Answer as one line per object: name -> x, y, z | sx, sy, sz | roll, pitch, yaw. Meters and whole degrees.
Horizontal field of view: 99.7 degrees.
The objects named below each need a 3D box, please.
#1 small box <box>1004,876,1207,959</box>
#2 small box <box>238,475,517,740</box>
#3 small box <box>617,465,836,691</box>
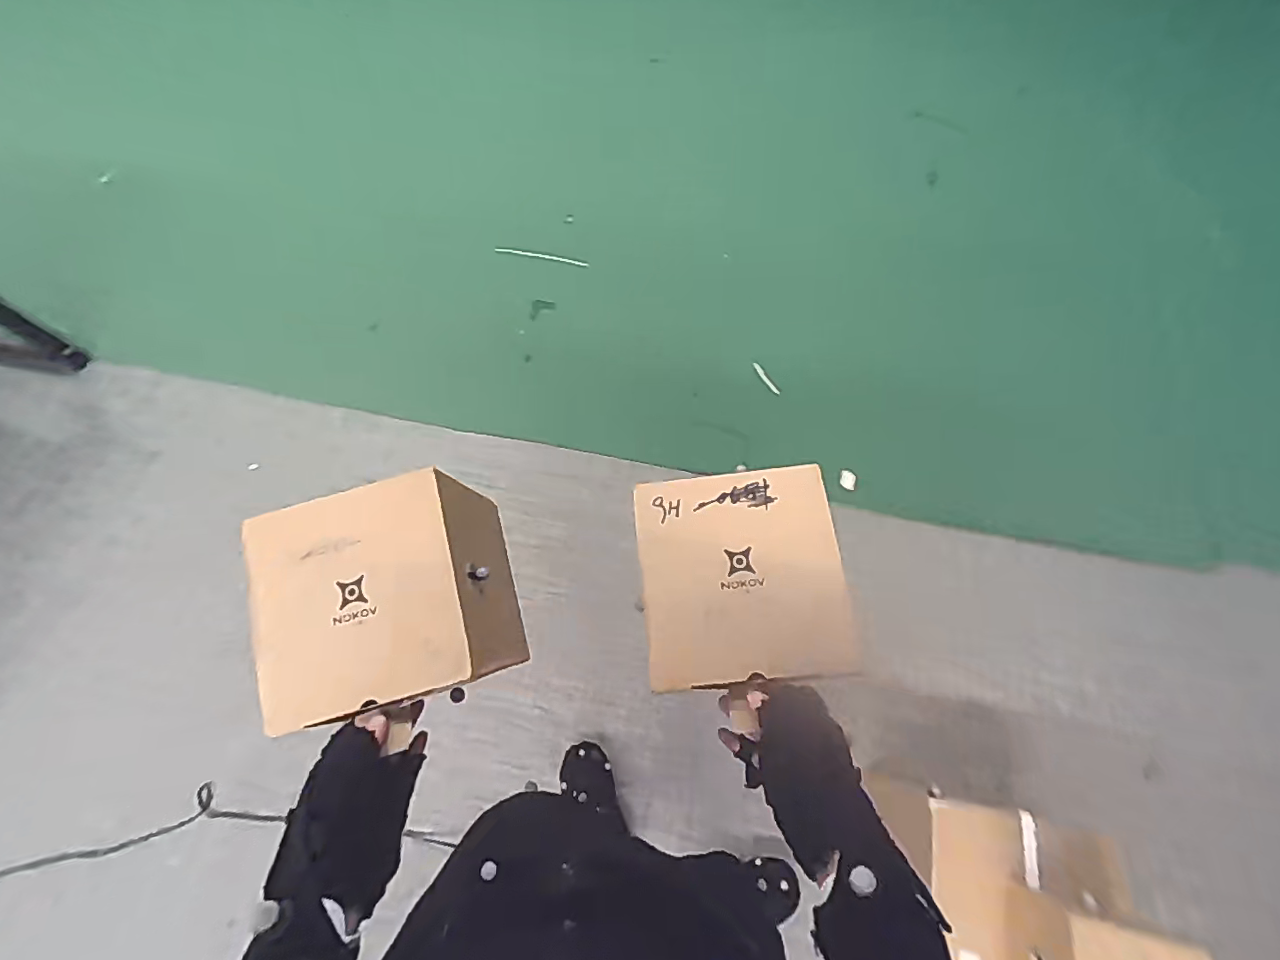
small box -> 0.633, 0.693, 0.748 | 0.168, 0.176, 0.179 | 8, 69, 11
small box -> -0.231, 0.115, 0.514 | 0.168, 0.176, 0.179 | -18, 76, -1
small box -> 0.075, 0.102, 0.529 | 0.168, 0.176, 0.179 | -7, 70, 3
